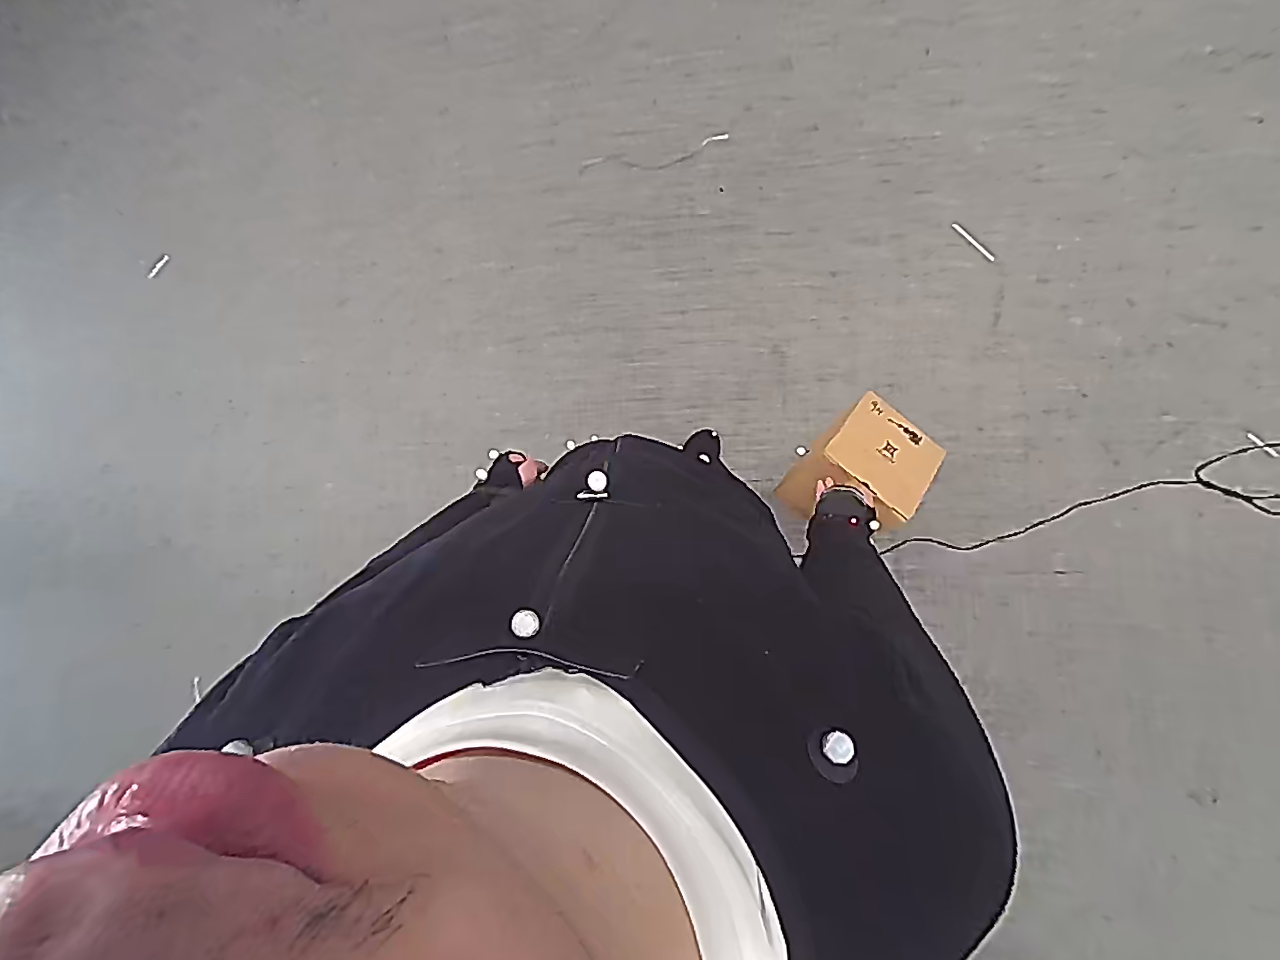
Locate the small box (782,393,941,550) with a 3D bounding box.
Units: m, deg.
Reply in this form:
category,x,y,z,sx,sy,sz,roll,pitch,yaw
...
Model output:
category,x,y,z,sx,sy,sz,roll,pitch,yaw
small box,0.371,-0.008,0.935,0.168,0.176,0.179,38,60,7
